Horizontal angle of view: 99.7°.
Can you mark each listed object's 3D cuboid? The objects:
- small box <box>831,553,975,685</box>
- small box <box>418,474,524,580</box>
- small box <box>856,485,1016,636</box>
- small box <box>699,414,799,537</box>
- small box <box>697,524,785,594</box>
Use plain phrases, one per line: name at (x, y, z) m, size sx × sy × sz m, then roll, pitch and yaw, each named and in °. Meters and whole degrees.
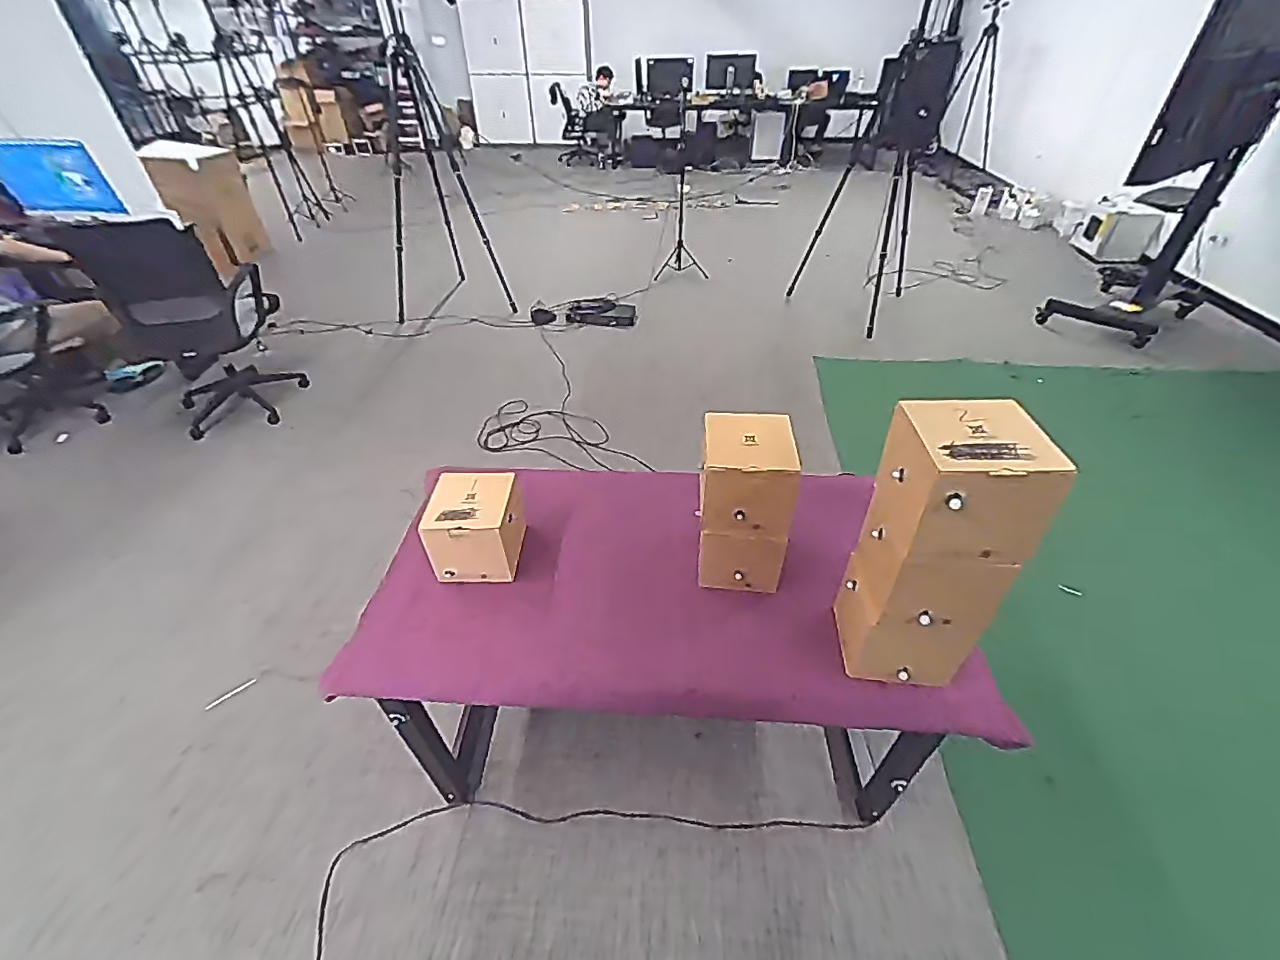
small box at (0.468, 0.257, 0.994) m, size 0.179 × 0.176 × 0.168 m, roll 4°, pitch 40°, yaw 6°
small box at (-0.358, 0.104, 1.183) m, size 0.168 × 0.176 × 0.179 m, roll 0°, pitch 40°, yaw 0°
small box at (0.468, 0.130, 0.891) m, size 0.168 × 0.176 × 0.179 m, roll 3°, pitch 40°, yaw 7°
small box at (0.203, -0.009, 1.059) m, size 0.168 × 0.176 × 0.179 m, roll 2°, pitch 42°, yaw 3°
small box at (0.211, 0.118, 1.161) m, size 0.168 × 0.176 × 0.179 m, roll 4°, pitch 41°, yaw 6°
